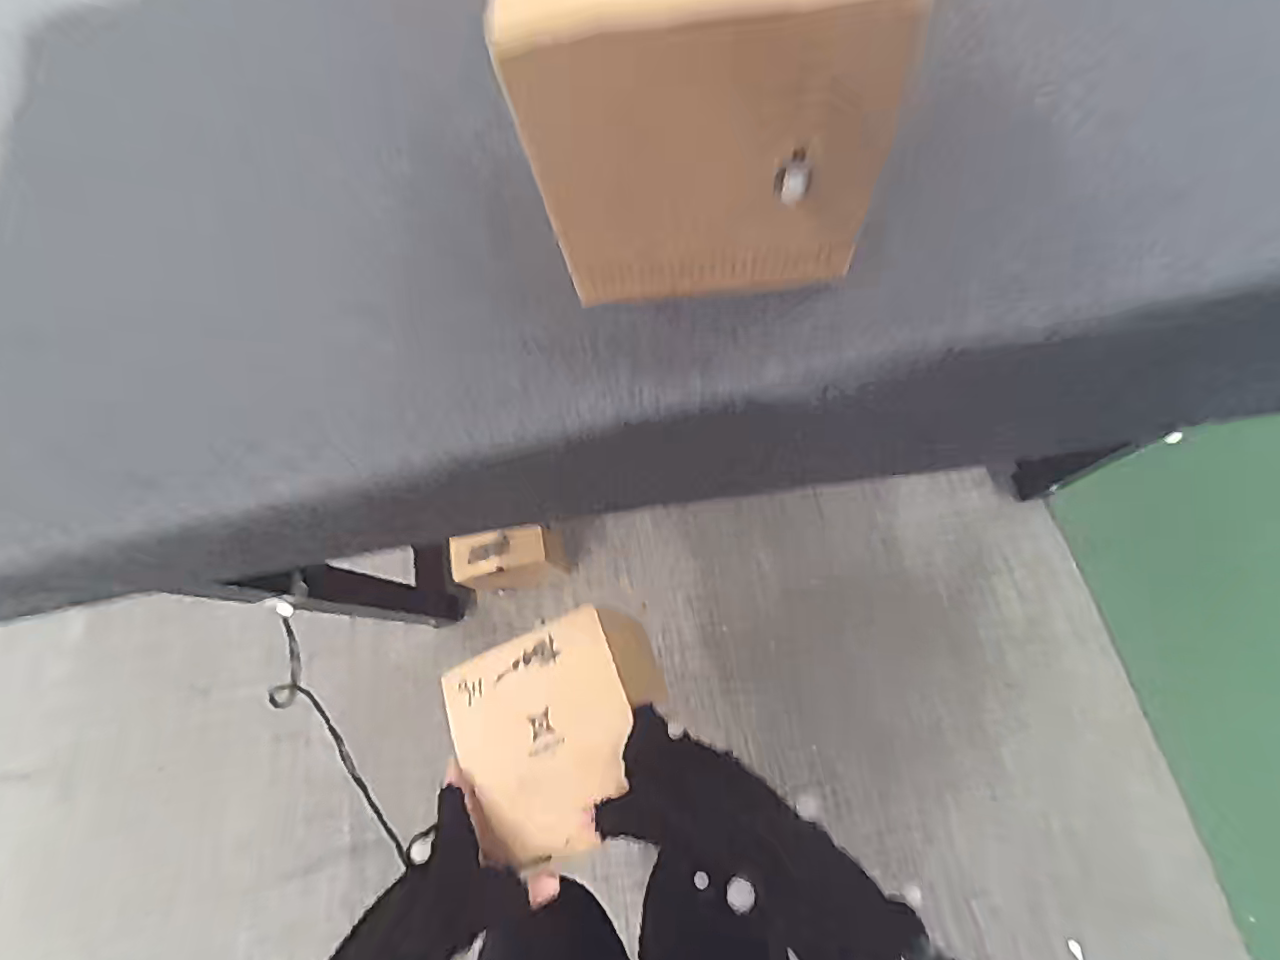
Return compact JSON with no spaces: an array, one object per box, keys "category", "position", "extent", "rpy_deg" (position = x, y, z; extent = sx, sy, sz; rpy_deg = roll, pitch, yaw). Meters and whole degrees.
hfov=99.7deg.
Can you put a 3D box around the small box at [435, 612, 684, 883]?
[{"category":"small box","position":[-0.069,0.247,0.536],"extent":[0.168,0.176,0.179],"rpy_deg":[-24,67,5]}]
